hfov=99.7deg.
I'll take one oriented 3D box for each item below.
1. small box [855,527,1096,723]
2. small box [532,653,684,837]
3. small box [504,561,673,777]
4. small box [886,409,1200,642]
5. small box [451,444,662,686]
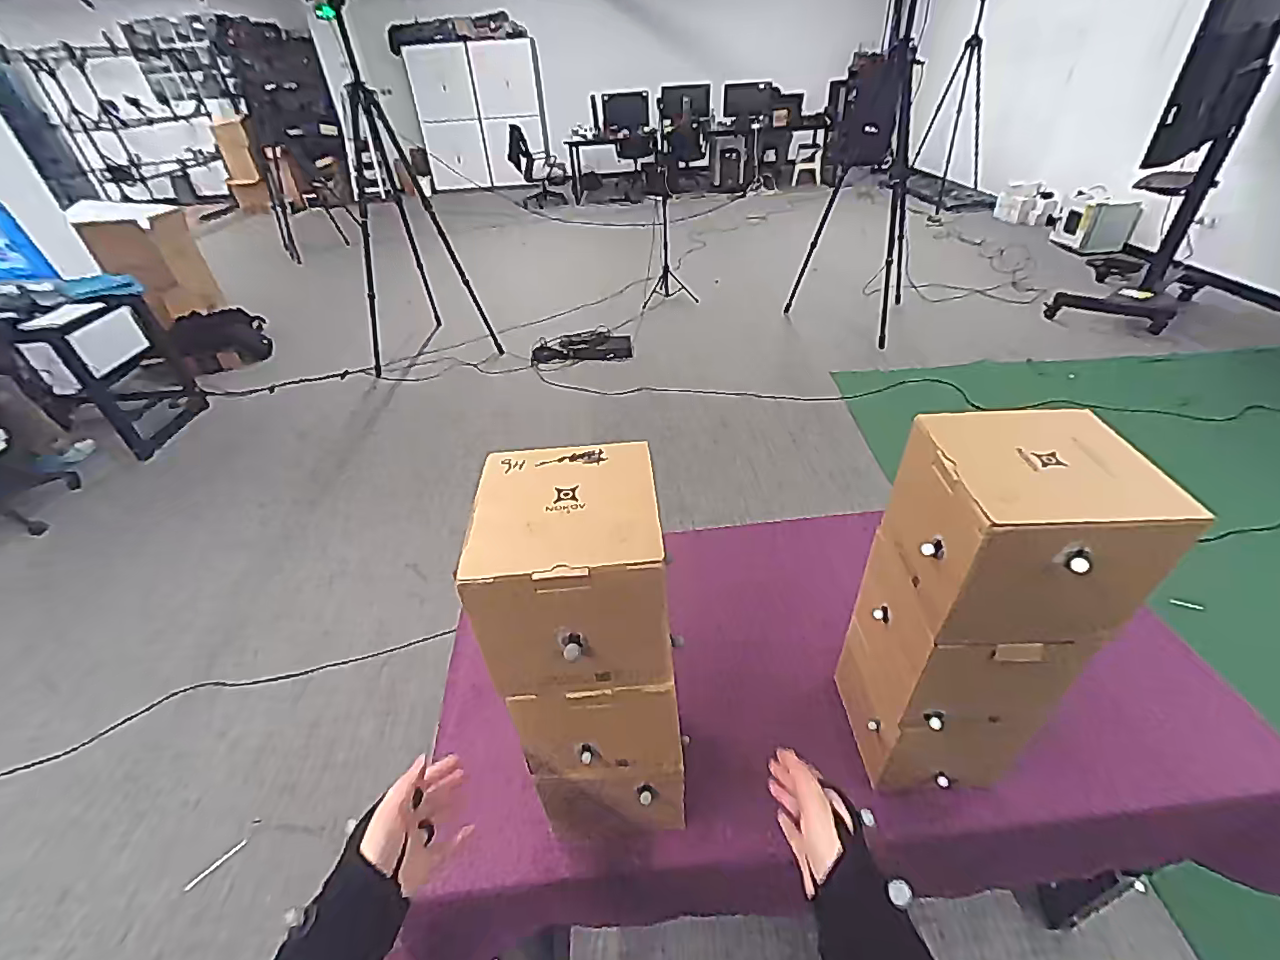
[{"bbox_3d":[0.373,0.171,0.644,0.168,0.176,0.179,-3,37,3],"label":"small box"},{"bbox_3d":[-0.035,0.353,0.726,0.179,0.176,0.168,-5,37,1],"label":"small box"},{"bbox_3d":[-0.049,0.218,0.635,0.168,0.176,0.179,-4,38,1],"label":"small box"},{"bbox_3d":[0.364,0.046,0.540,0.179,0.176,0.168,-2,39,4],"label":"small box"},{"bbox_3d":[-0.068,0.087,0.537,0.168,0.176,0.179,-5,38,-1],"label":"small box"}]
